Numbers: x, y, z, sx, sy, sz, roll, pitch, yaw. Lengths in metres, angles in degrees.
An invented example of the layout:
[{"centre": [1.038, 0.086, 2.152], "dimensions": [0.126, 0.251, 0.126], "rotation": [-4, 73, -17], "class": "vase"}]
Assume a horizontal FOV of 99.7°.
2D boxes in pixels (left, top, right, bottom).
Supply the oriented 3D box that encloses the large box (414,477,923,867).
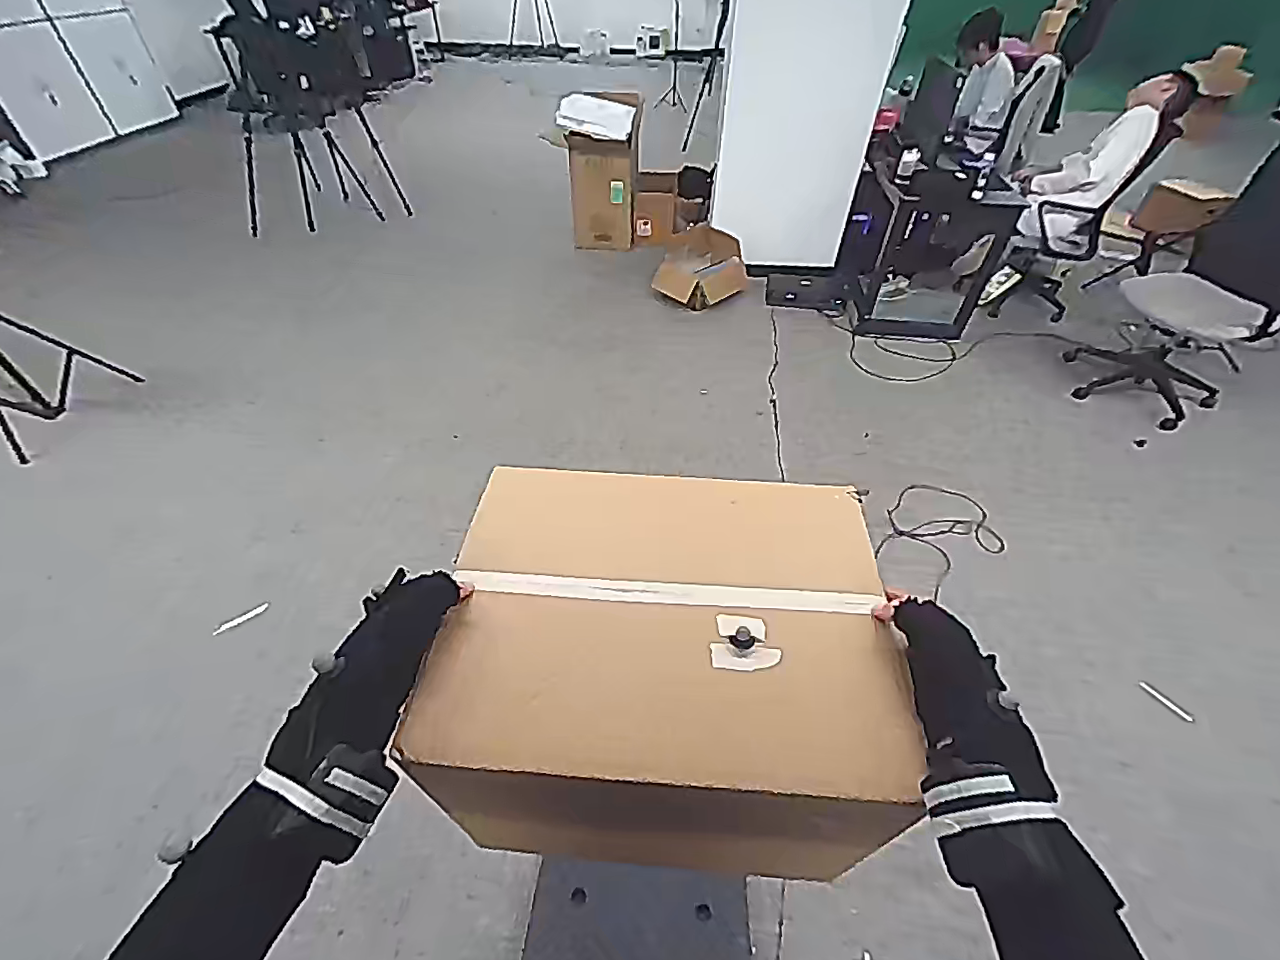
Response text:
[{"centre": [0.025, 0.219, 0.623], "dimensions": [0.408, 0.320, 0.320], "rotation": [3, 46, 3], "class": "large box"}]
